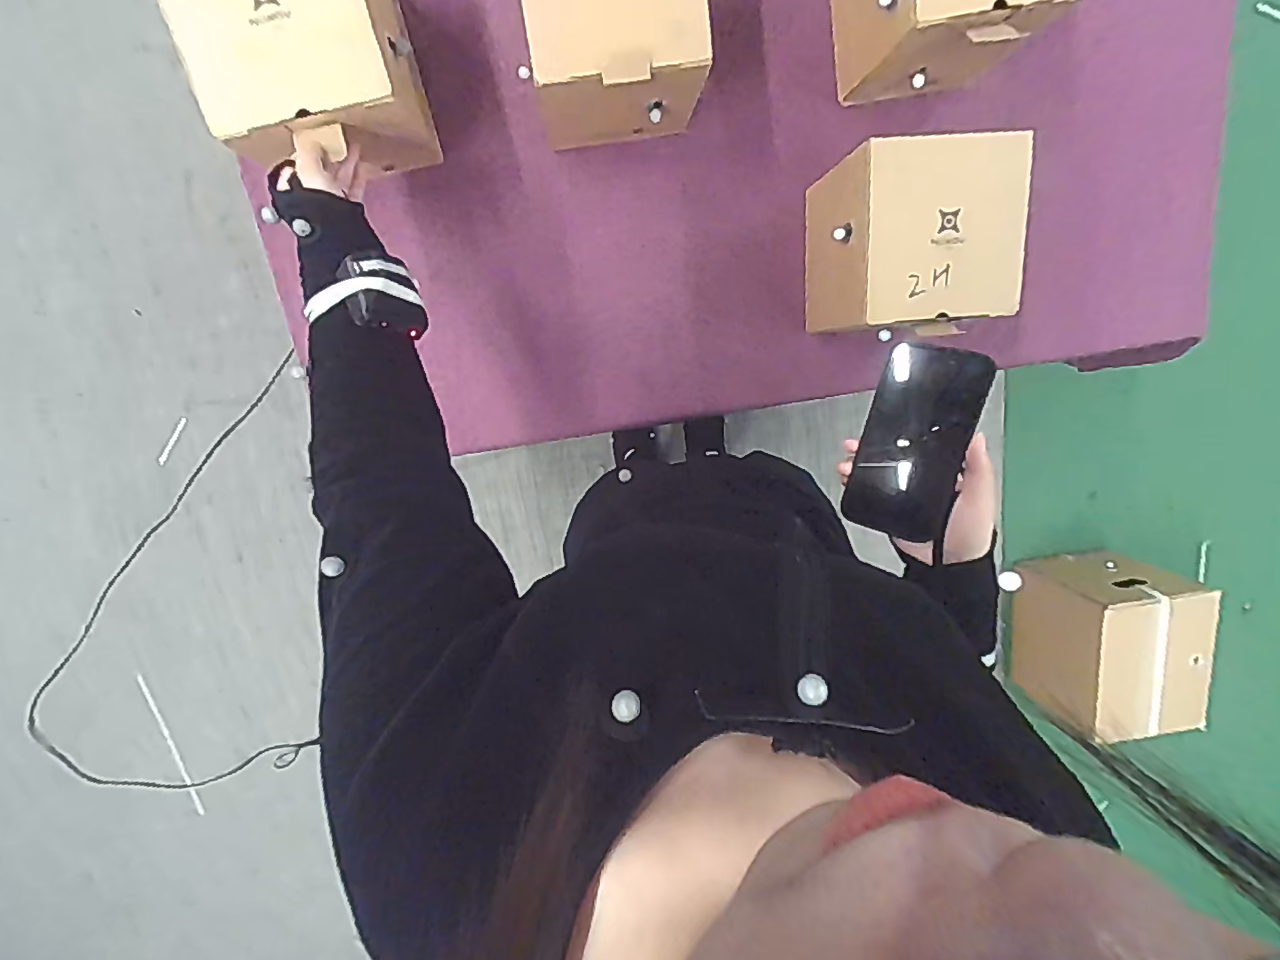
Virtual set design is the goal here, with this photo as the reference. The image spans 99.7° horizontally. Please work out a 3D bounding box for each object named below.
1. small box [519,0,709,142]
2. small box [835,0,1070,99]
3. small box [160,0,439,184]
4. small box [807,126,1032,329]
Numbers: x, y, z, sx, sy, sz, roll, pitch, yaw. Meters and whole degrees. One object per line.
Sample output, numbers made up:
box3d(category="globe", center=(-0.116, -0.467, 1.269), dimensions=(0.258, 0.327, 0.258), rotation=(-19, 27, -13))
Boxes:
box3d(category="small box", center=(-0.033, -0.468, 0.546), dimensions=(0.168, 0.176, 0.179), rotation=(-10, 104, -3))
box3d(category="small box", center=(0.310, -0.536, 0.555), dimensions=(0.168, 0.176, 0.179), rotation=(-12, 104, -1))
box3d(category="small box", center=(-0.321, -0.415, 0.536), dimensions=(0.168, 0.176, 0.179), rotation=(-14, 105, -1))
box3d(category="small box", center=(0.298, -0.270, 0.614), dimensions=(0.168, 0.176, 0.179), rotation=(-4, 103, -2))
